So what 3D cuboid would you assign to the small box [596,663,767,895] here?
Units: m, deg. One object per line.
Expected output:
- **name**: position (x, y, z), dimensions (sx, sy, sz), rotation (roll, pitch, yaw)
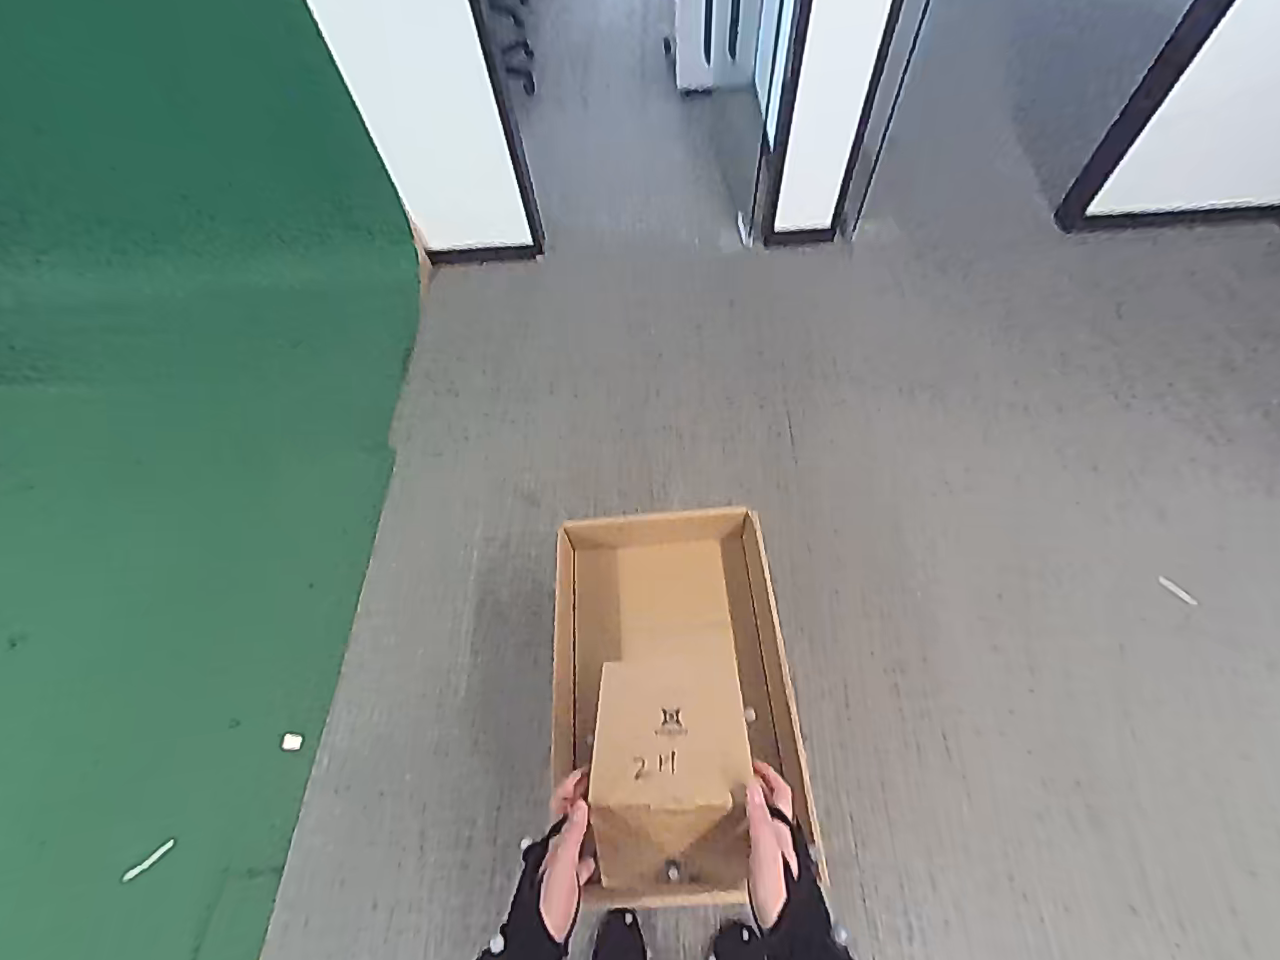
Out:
- **small box**: position (0.044, 0.335, 0.621), dimensions (0.168, 0.176, 0.179), rotation (-1, 31, 2)
